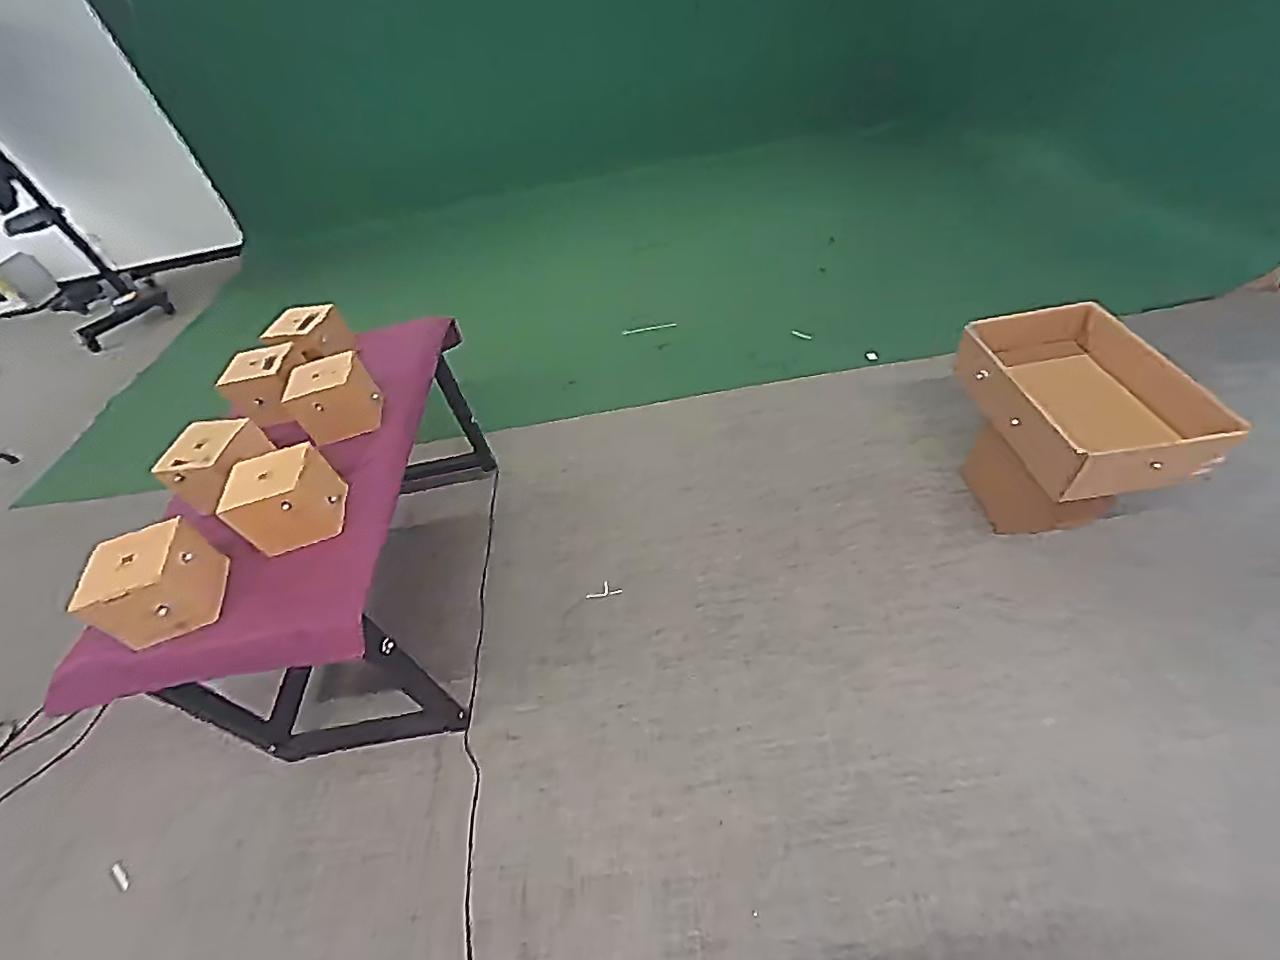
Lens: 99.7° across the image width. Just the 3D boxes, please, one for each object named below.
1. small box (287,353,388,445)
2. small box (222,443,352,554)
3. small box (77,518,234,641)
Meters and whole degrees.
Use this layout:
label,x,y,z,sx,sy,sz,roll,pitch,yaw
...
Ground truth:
label,x,y,z,sx,sy,sz,roll,pitch,yaw
small box,-0.840,-0.224,1.520,0.179,0.176,0.168,-17,47,-2
small box,-0.811,0.047,1.263,0.179,0.176,0.168,-18,46,-4
small box,-1.006,0.218,1.145,0.168,0.176,0.179,-20,46,-8
